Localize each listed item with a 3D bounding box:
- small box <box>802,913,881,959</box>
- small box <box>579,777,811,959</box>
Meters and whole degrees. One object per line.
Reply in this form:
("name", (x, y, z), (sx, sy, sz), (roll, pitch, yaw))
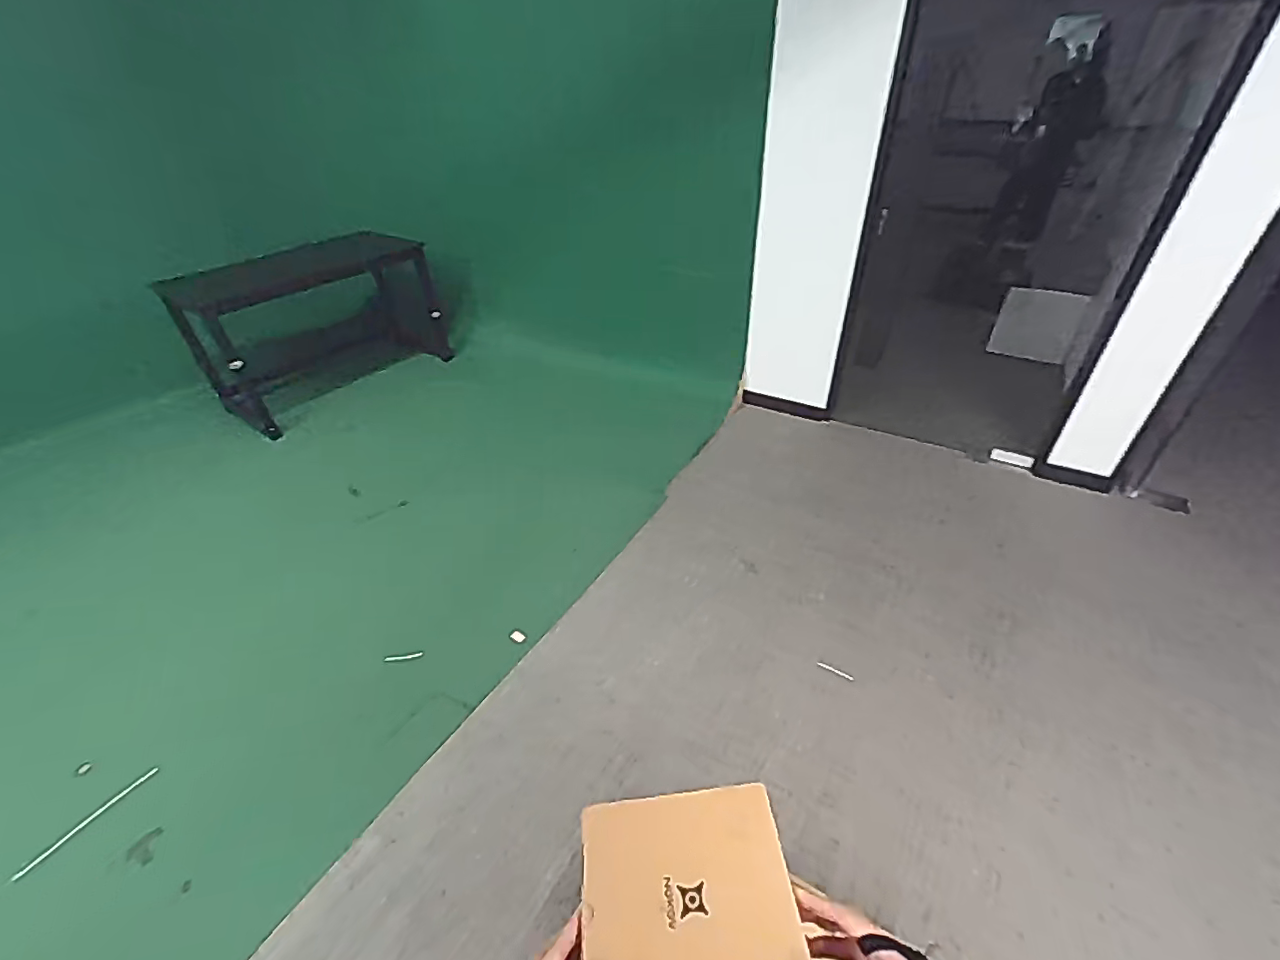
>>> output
("small box", (0.309, 0.873, 0.884), (0.168, 0.176, 0.179), (17, 42, 25))
("small box", (0.044, 0.402, 0.490), (0.179, 0.176, 0.168), (-9, 36, -1))
